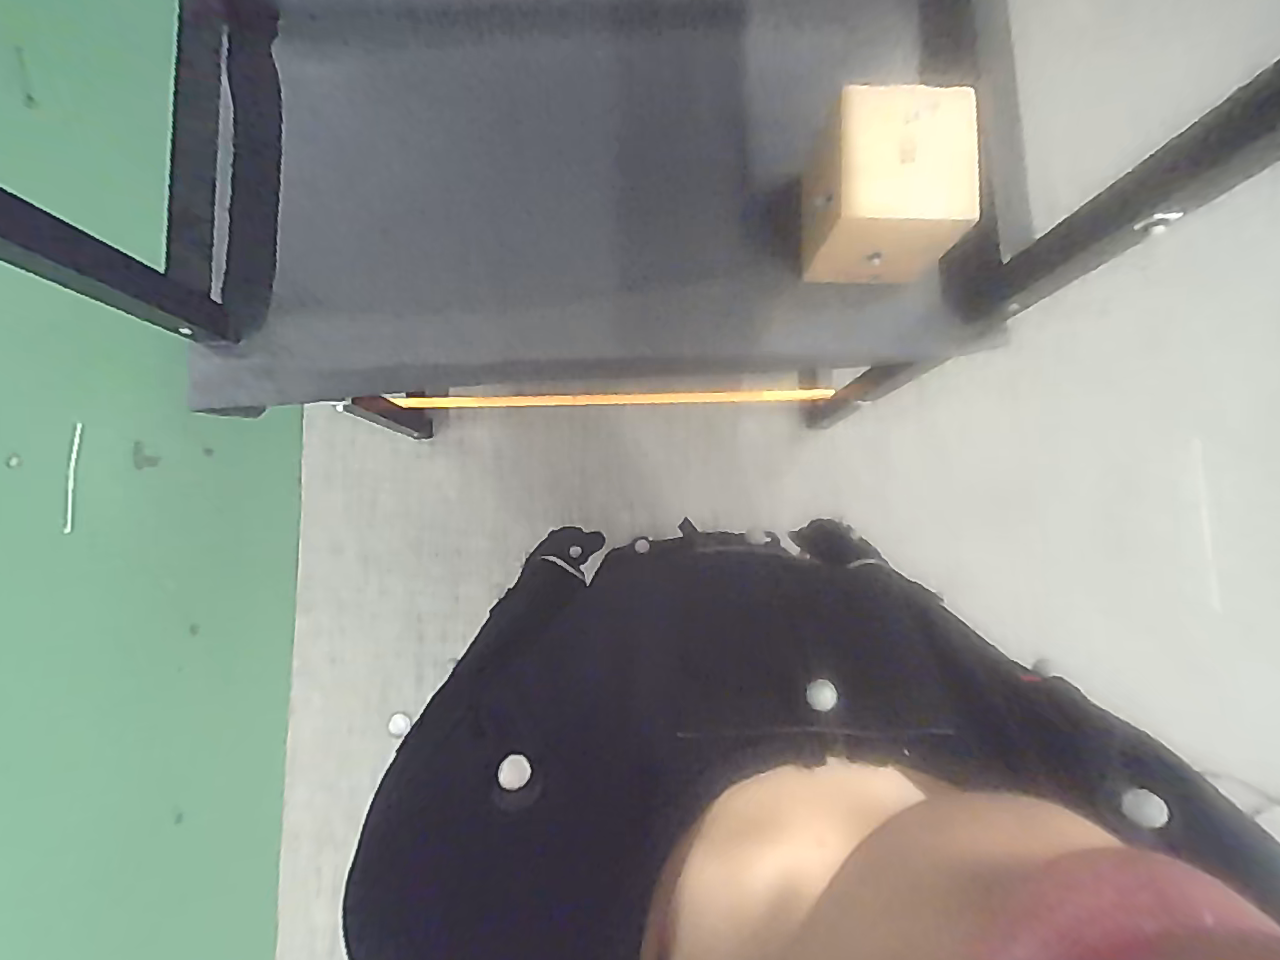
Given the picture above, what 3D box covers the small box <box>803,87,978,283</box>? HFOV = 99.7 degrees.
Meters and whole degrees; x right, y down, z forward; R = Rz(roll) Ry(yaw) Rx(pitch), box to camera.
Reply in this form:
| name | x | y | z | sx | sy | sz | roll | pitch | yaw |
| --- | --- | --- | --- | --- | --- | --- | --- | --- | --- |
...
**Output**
| name | x | y | z | sx | sy | sz | roll | pitch | yaw |
| --- | --- | --- | --- | --- | --- | --- | --- | --- | --- |
| small box | 0.327 | -0.387 | 0.735 | 0.168 | 0.176 | 0.179 | 2 | 84 | 0 |
